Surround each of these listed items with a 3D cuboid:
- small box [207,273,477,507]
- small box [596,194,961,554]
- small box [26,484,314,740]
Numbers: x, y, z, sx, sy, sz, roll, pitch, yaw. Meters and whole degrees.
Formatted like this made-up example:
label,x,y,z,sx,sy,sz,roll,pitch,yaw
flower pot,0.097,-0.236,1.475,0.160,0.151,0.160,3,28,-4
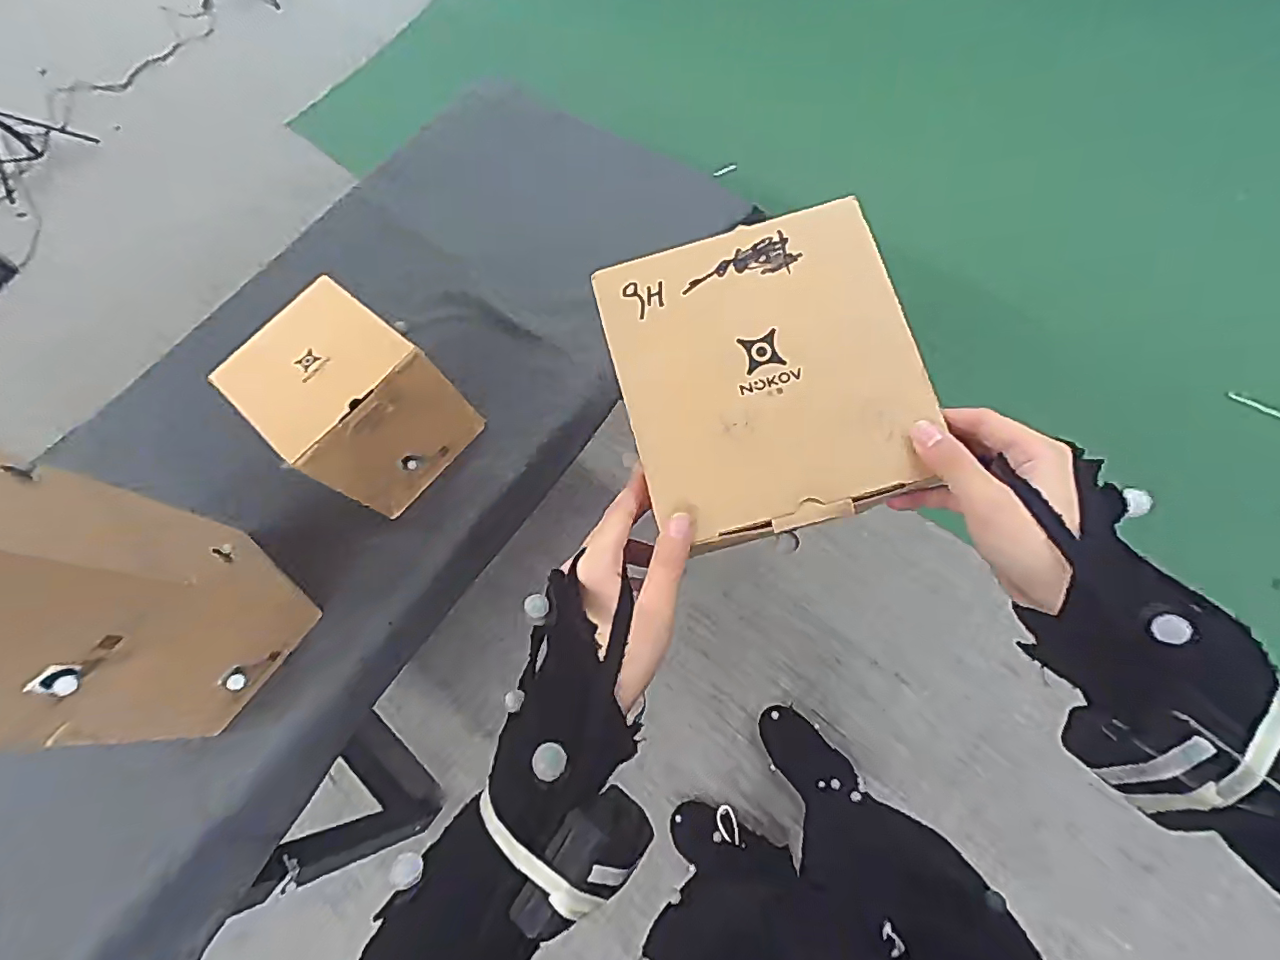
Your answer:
label,x,y,z,sx,sy,sz,roll,pitch,yaw
small box,-0.327,-0.093,0.624,0.179,0.176,0.168,37,78,20
small box,0.079,-0.051,0.379,0.168,0.176,0.179,-15,80,2
small box,-0.494,0.139,0.557,0.179,0.176,0.168,34,77,19
